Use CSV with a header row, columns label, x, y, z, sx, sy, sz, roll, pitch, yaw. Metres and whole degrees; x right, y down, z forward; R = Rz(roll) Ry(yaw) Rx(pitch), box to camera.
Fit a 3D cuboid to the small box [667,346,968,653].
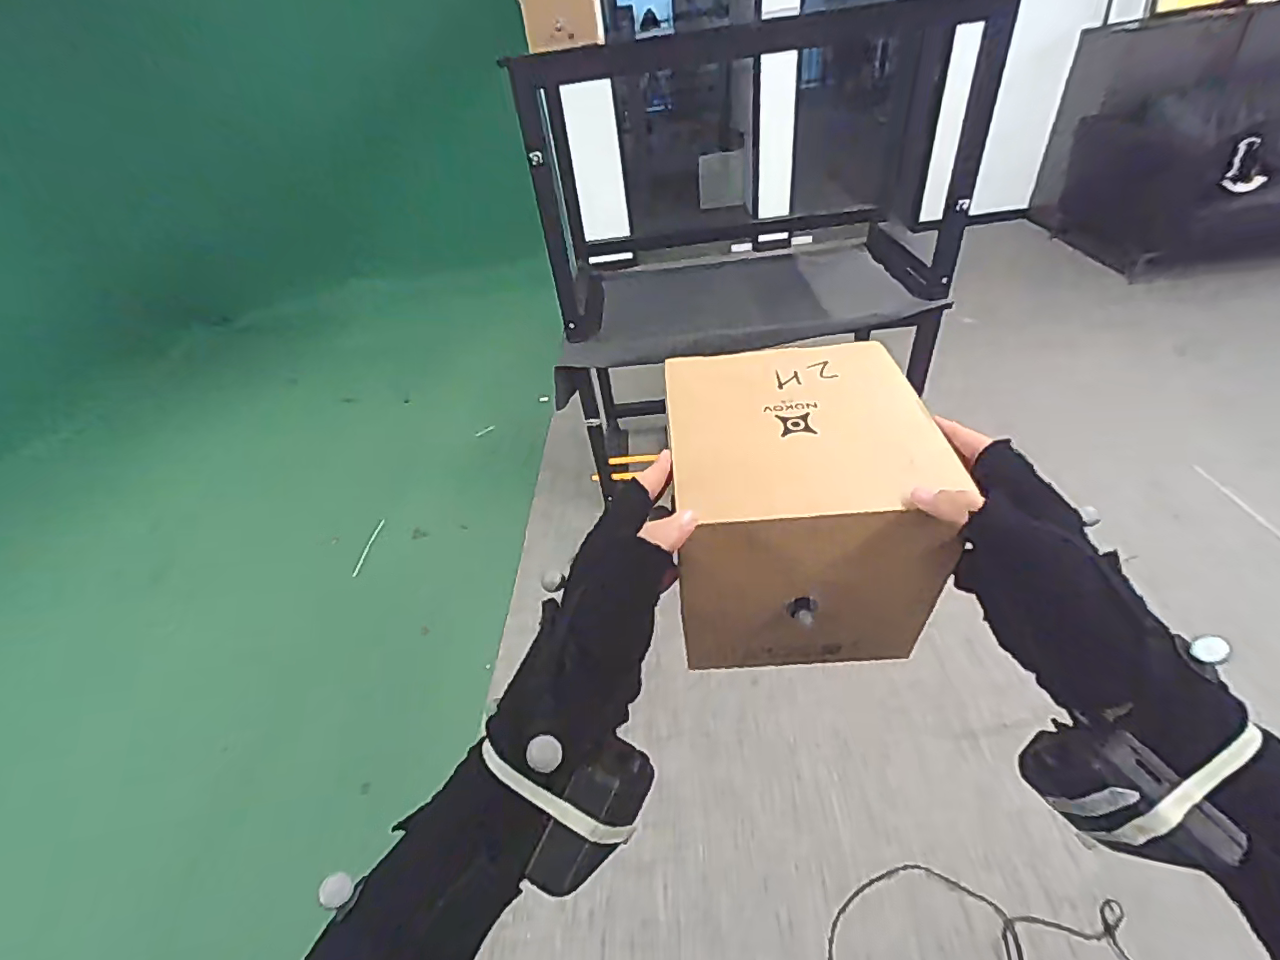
label,x,y,z,sx,sy,sz,roll,pitch,yaw
small box,0.110,0.020,0.416,0.168,0.176,0.179,-4,42,3
